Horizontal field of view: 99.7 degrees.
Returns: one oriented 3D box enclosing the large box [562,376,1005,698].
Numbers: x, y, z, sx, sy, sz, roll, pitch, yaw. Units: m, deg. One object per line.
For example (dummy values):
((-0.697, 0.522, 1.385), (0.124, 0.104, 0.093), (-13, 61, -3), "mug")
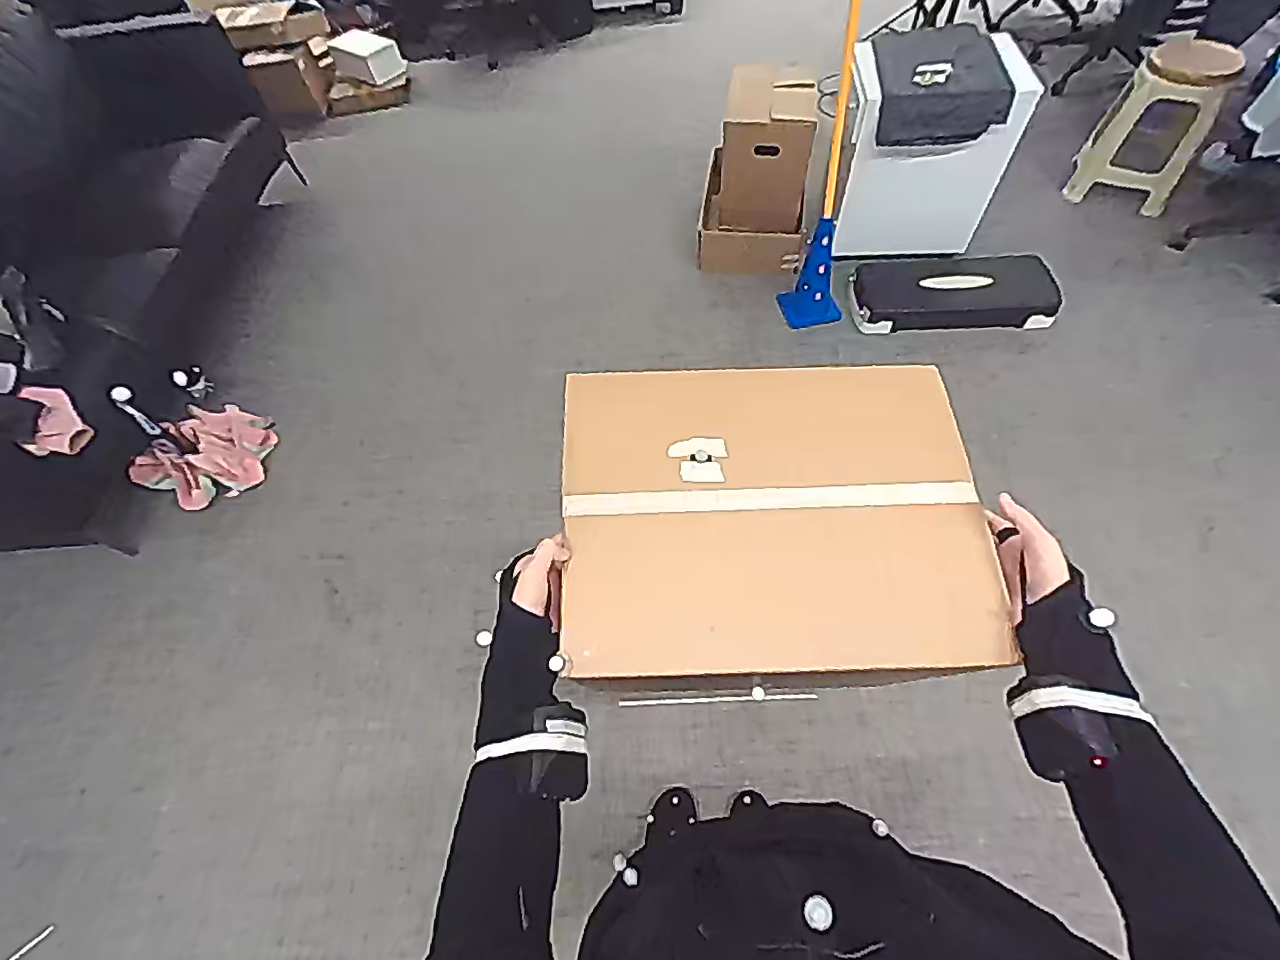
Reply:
((0.127, 0.095, 0.676), (0.408, 0.320, 0.320), (-3, 65, 0), "large box")
